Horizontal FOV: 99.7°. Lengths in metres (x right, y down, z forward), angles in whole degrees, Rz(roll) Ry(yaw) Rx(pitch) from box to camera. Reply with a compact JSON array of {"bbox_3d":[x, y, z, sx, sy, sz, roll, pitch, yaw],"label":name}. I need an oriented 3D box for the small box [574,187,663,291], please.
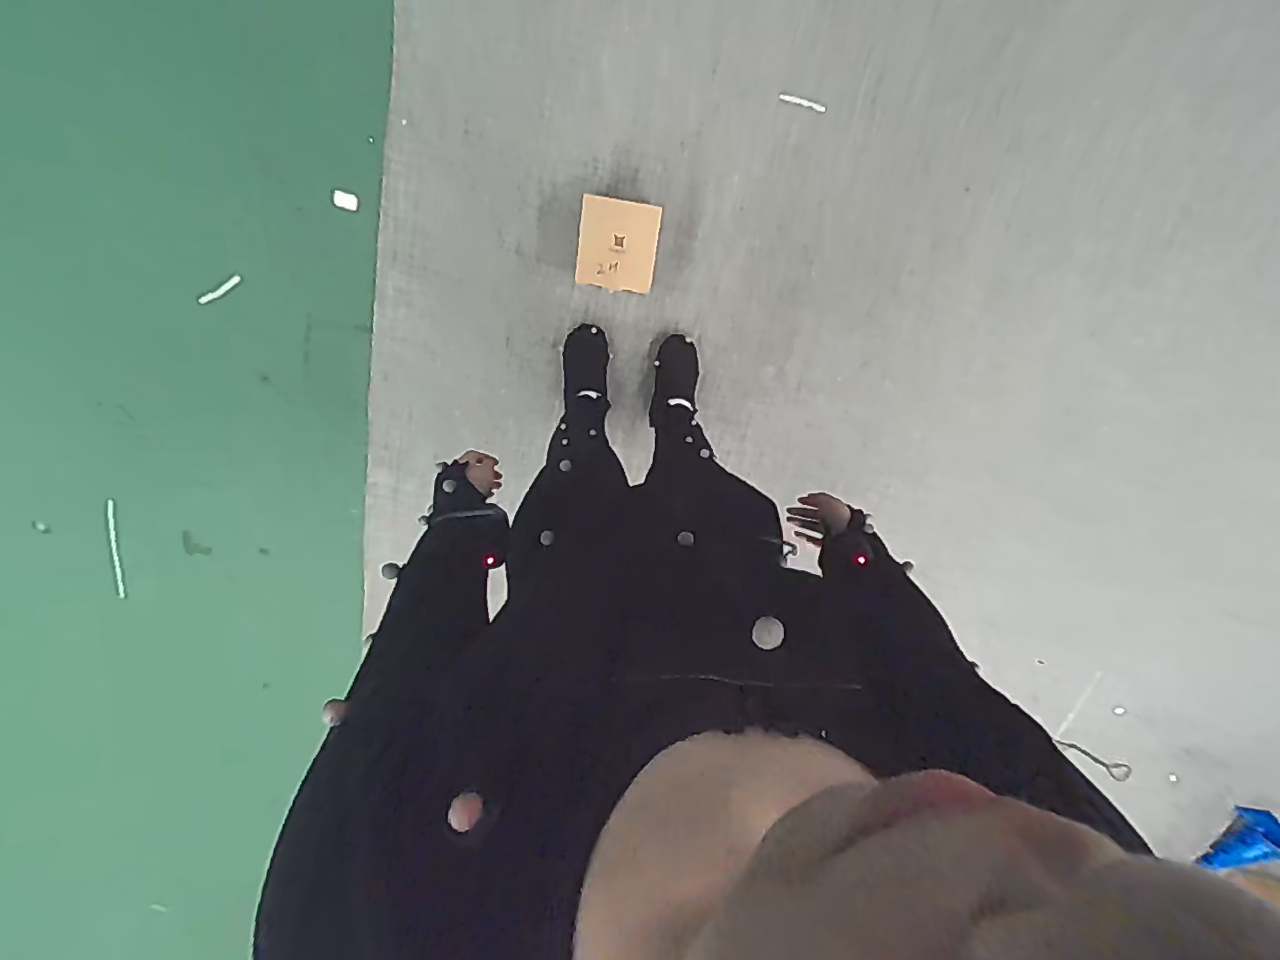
[{"bbox_3d":[-0.053,-0.525,1.194,0.168,0.176,0.179,7,112,-7],"label":"small box"}]
